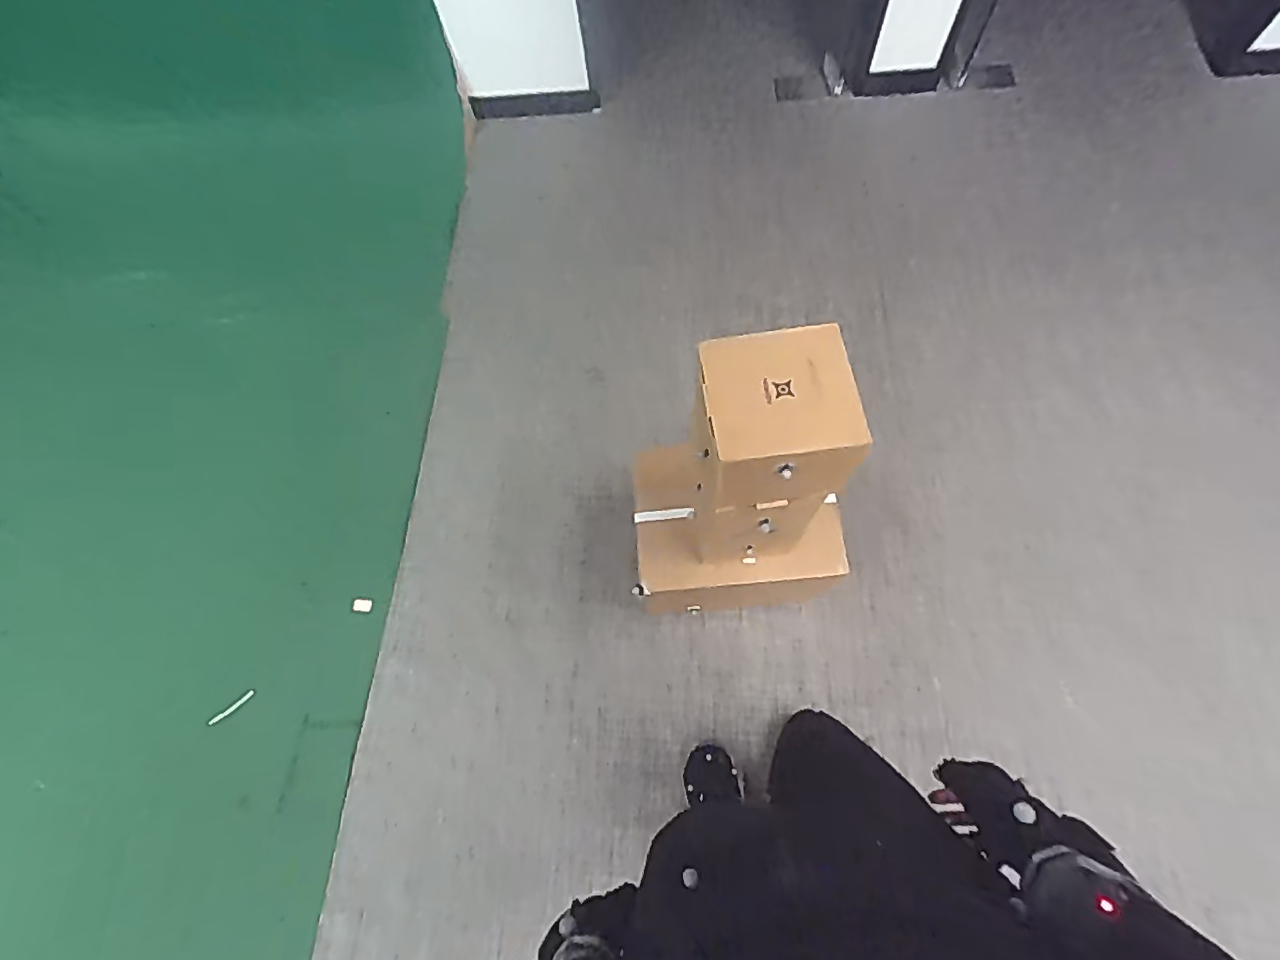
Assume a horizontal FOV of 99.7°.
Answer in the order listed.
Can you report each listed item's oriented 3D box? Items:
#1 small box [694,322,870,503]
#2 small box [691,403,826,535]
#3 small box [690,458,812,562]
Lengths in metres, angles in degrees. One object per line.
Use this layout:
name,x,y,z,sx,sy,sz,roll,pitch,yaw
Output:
small box,0.167,-0.077,0.701,0.179,0.176,0.168,-8,69,1
small box,0.176,-0.019,0.853,0.168,0.176,0.179,-9,69,2
small box,0.194,0.045,1.002,0.179,0.176,0.168,-10,68,0
